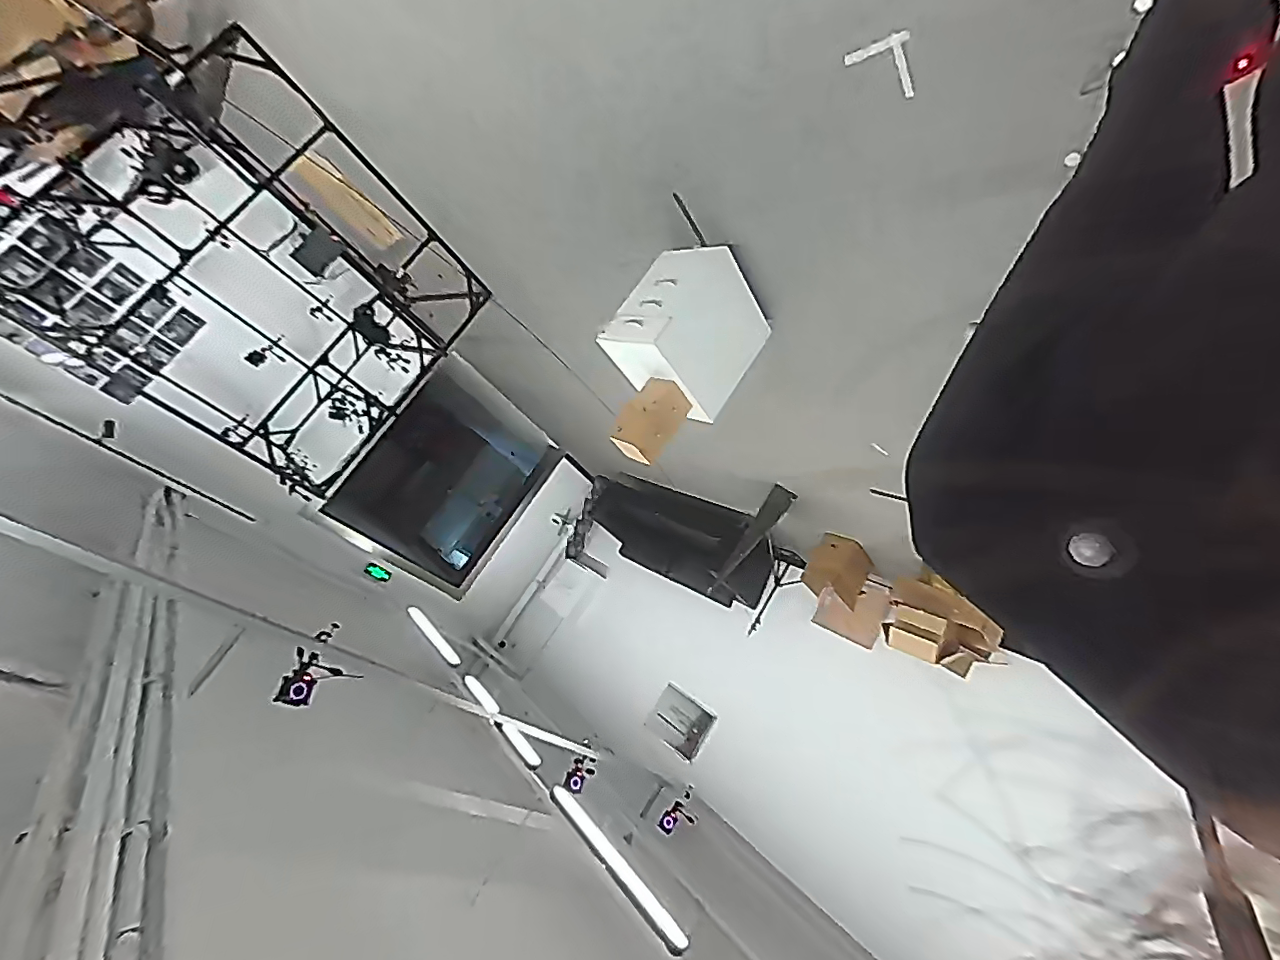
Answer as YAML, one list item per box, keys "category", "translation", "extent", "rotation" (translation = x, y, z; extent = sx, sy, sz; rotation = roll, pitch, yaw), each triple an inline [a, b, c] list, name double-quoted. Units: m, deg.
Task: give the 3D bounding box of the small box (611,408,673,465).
- category: "small box"
  translation: [0.011, -0.196, 2.358]
  extent: [0.179, 0.176, 0.168]
  rotation: [22, 164, 45]
